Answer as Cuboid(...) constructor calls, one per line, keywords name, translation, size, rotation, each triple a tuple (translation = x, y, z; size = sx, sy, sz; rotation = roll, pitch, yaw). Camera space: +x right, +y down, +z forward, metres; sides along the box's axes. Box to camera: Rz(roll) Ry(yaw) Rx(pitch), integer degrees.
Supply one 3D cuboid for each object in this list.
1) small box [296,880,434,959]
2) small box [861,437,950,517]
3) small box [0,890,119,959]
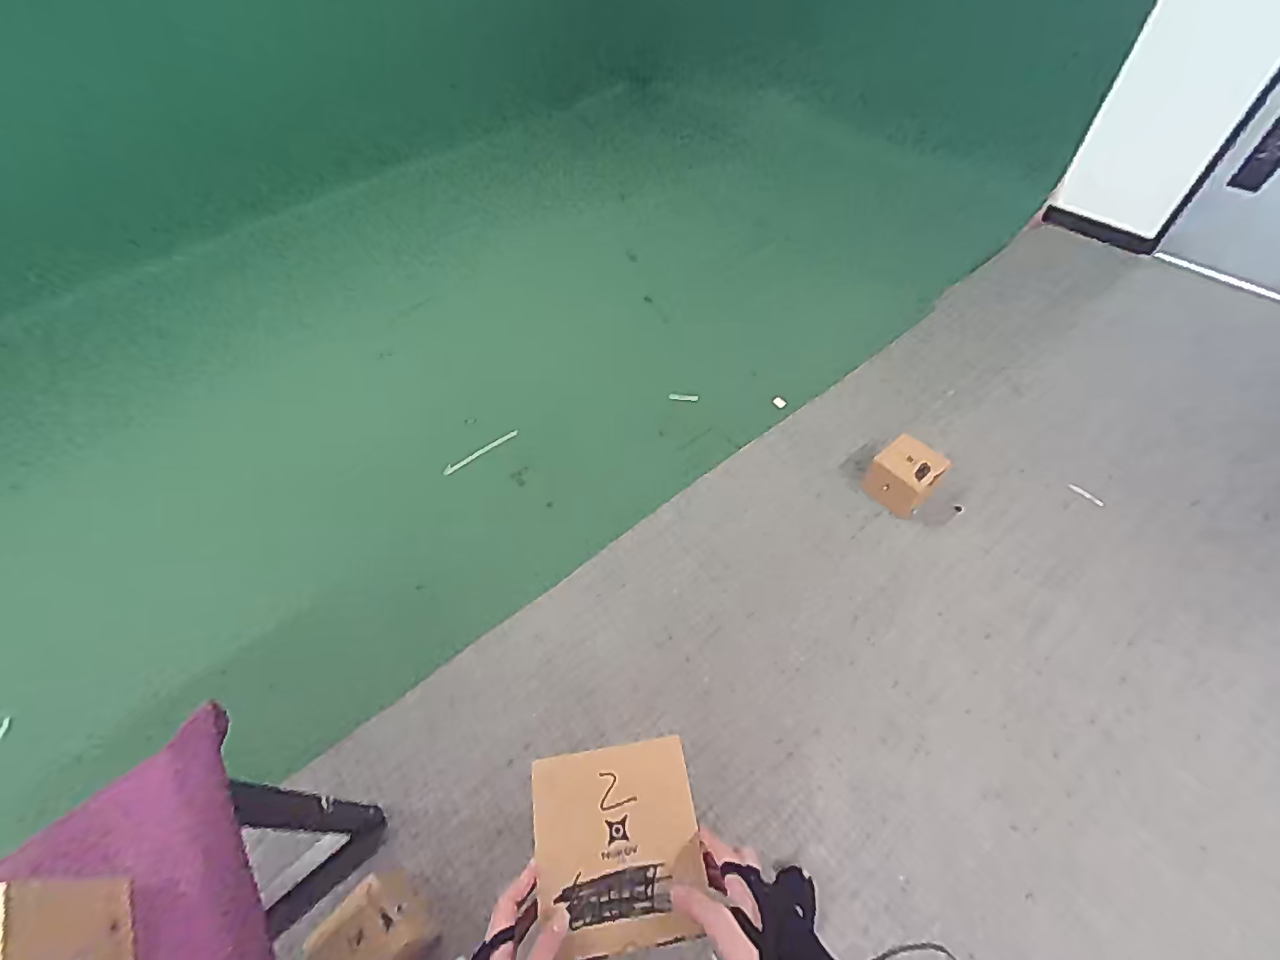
Cuboid(name="small box", translation=(-0.582, 1.008, 1.163), size=(0.168, 0.176, 0.179), rotation=(36, 65, 27))
Cuboid(name="small box", translation=(0.858, -0.001, 1.764), size=(0.168, 0.176, 0.179), rotation=(-34, 57, -19))
Cuboid(name="small box", translation=(-0.721, 0.584, 0.586), size=(0.179, 0.176, 0.168), rotation=(-30, 58, -15))
